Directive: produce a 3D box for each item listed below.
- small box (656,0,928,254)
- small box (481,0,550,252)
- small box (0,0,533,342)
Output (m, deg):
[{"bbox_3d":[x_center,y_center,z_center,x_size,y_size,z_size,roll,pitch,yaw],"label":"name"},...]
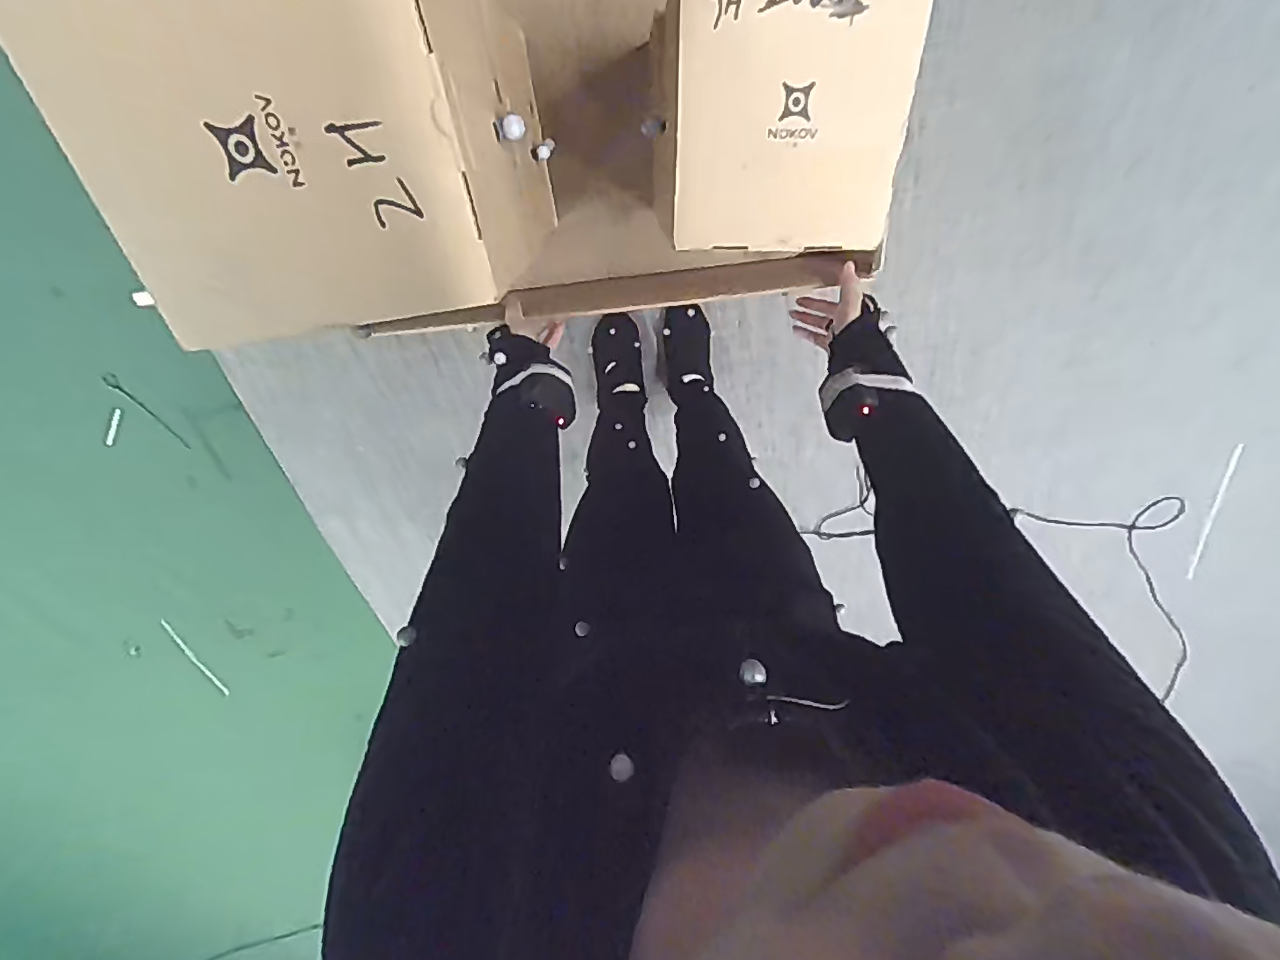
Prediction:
[{"bbox_3d":[0.102,-0.298,0.452,0.168,0.176,0.179,-1,122,-2],"label":"small box"},{"bbox_3d":[-0.182,-0.280,0.455,0.179,0.176,0.168,-8,121,1],"label":"small box"},{"bbox_3d":[-0.173,-0.193,0.315,0.179,0.176,0.168,-8,122,1],"label":"small box"}]
